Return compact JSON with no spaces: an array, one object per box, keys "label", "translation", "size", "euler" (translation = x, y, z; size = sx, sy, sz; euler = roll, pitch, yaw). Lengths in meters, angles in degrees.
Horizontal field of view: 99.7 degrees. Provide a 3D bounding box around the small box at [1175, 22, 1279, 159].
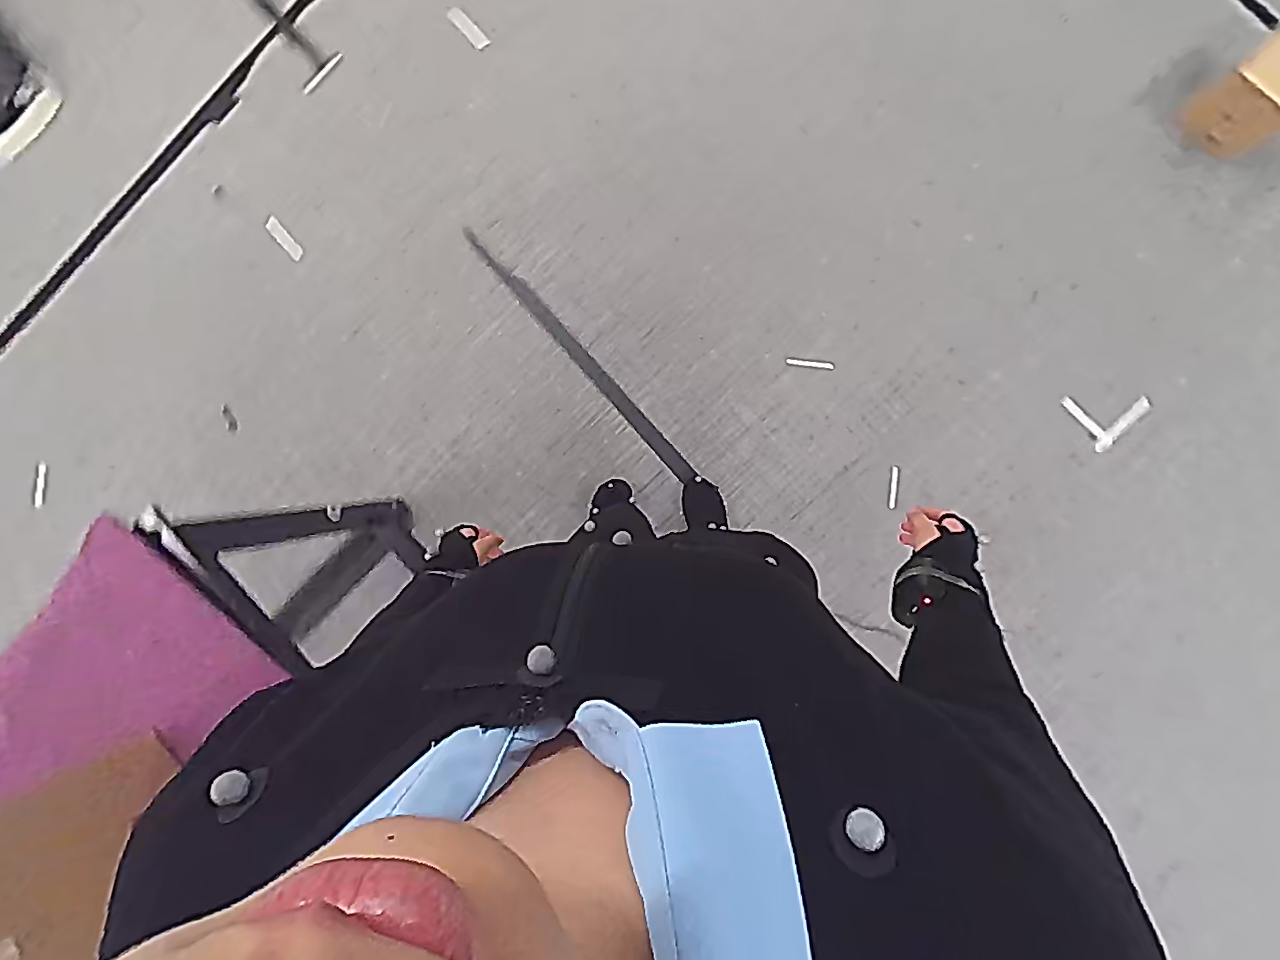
[{"label":"small box","translation":[1.448,-0.918,1.285],"size":[0.168,0.176,0.179],"euler":[45,93,3]}]
